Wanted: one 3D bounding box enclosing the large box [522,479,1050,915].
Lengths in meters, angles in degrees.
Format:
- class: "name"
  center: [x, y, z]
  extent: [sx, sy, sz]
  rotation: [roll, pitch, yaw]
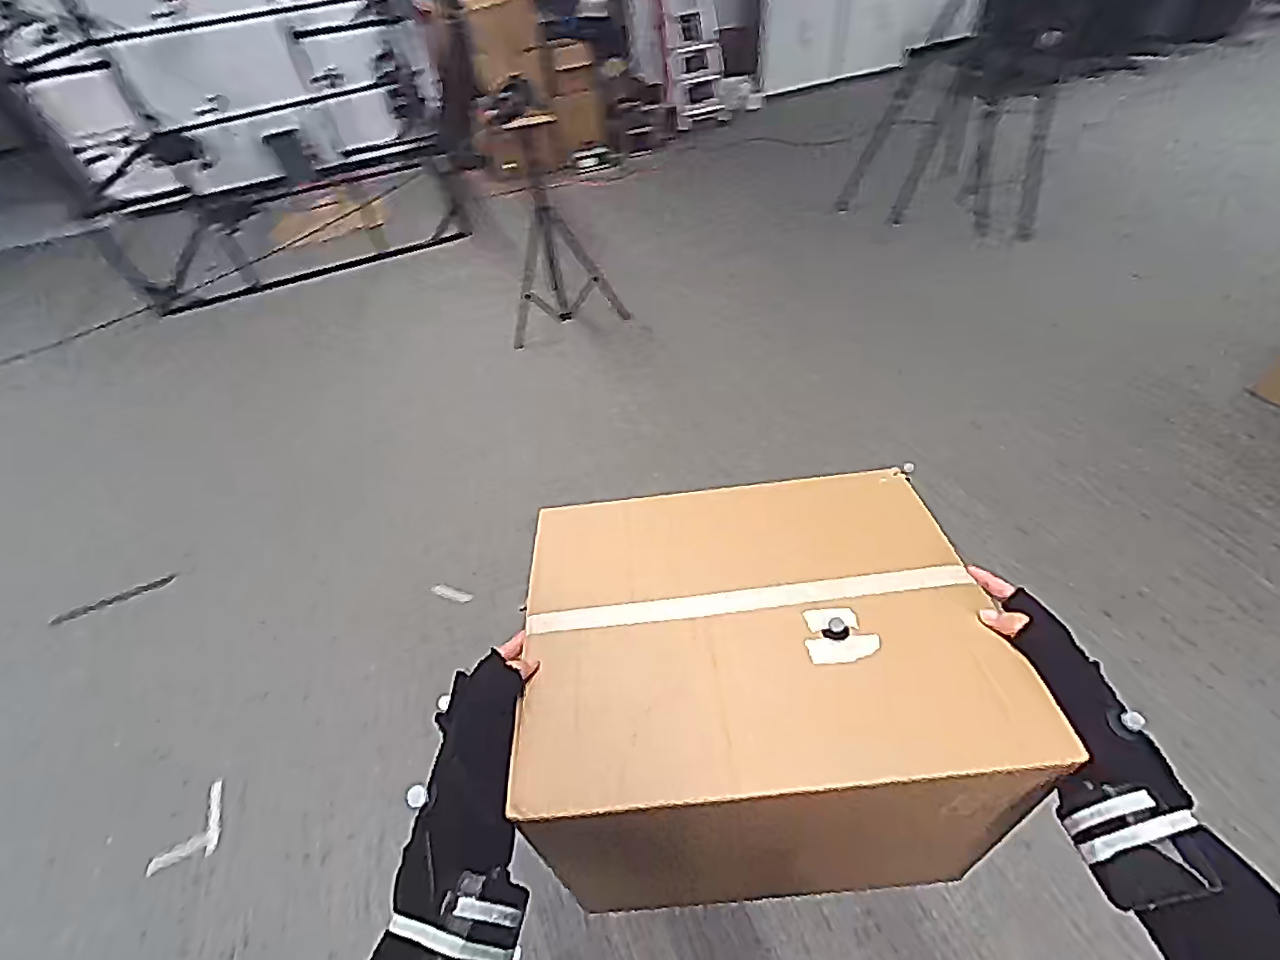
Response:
- class: "large box"
  center: [0.109, 0.236, 0.603]
  extent: [0.408, 0.320, 0.320]
  rotation: [-7, 41, 1]
